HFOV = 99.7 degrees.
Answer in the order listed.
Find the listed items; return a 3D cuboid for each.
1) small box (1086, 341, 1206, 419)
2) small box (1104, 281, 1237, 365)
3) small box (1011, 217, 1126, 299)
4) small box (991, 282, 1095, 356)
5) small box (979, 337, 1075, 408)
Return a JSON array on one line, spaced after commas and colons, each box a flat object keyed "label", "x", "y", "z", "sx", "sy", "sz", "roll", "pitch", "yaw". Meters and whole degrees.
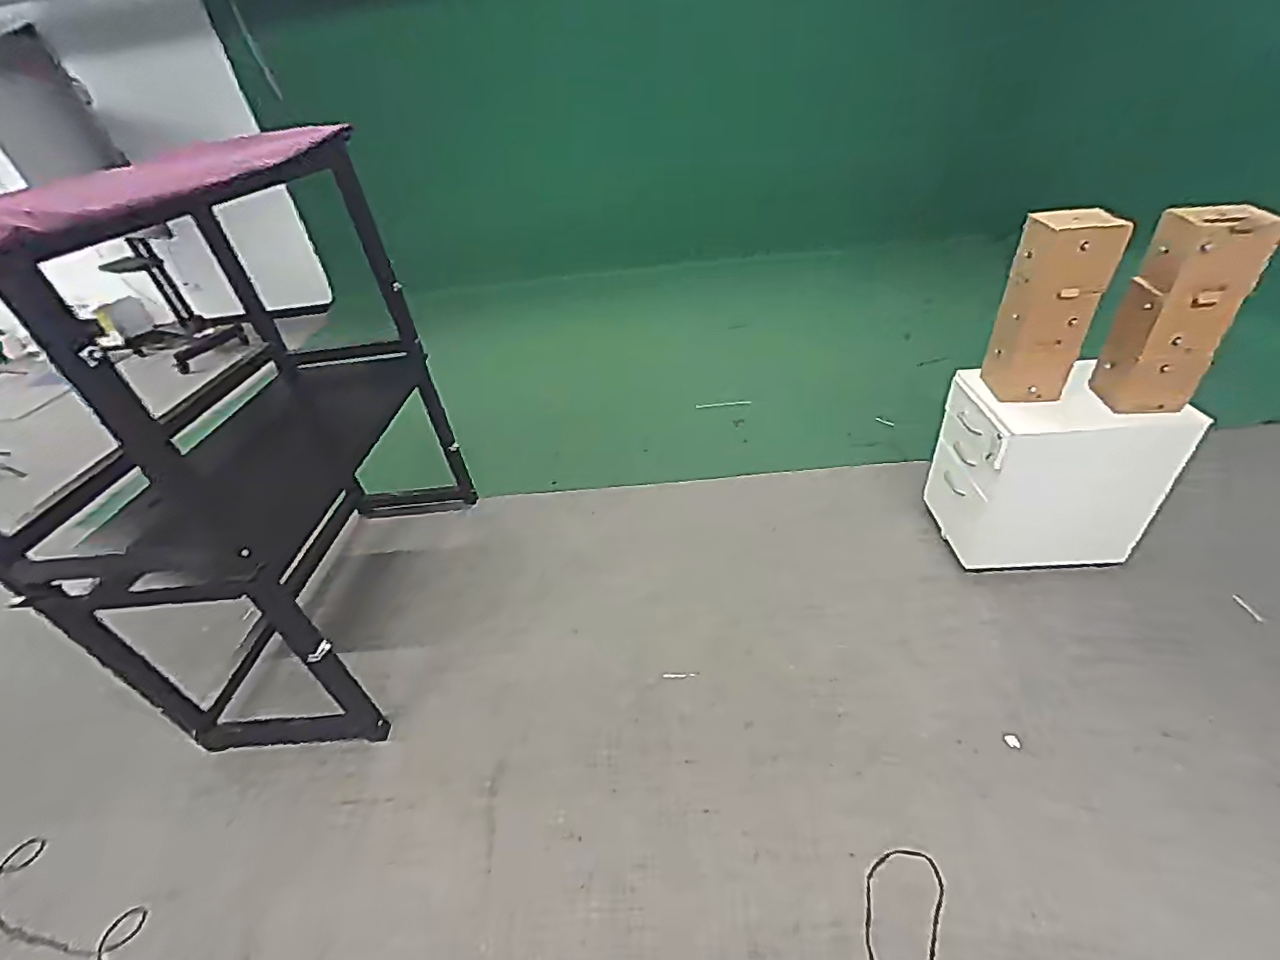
[{"label": "small box", "x": 1.429, "y": -0.289, "z": 1.546, "sx": 0.168, "sy": 0.176, "sz": 0.179, "roll": 0, "pitch": 37, "yaw": 12}, {"label": "small box", "x": 1.408, "y": -0.422, "z": 1.454, "sx": 0.168, "sy": 0.176, "sz": 0.179, "roll": 0, "pitch": 38, "yaw": 11}, {"label": "small box", "x": 1.138, "y": -0.596, "z": 1.460, "sx": 0.179, "sy": 0.176, "sz": 0.168, "roll": 0, "pitch": 39, "yaw": 8}, {"label": "small box", "x": 1.151, "y": -0.466, "z": 1.560, "sx": 0.168, "sy": 0.176, "sz": 0.179, "roll": 1, "pitch": 37, "yaw": 9}, {"label": "small box", "x": 1.172, "y": -0.336, "z": 1.655, "sx": 0.168, "sy": 0.176, "sz": 0.179, "roll": 0, "pitch": 39, "yaw": 10}]
